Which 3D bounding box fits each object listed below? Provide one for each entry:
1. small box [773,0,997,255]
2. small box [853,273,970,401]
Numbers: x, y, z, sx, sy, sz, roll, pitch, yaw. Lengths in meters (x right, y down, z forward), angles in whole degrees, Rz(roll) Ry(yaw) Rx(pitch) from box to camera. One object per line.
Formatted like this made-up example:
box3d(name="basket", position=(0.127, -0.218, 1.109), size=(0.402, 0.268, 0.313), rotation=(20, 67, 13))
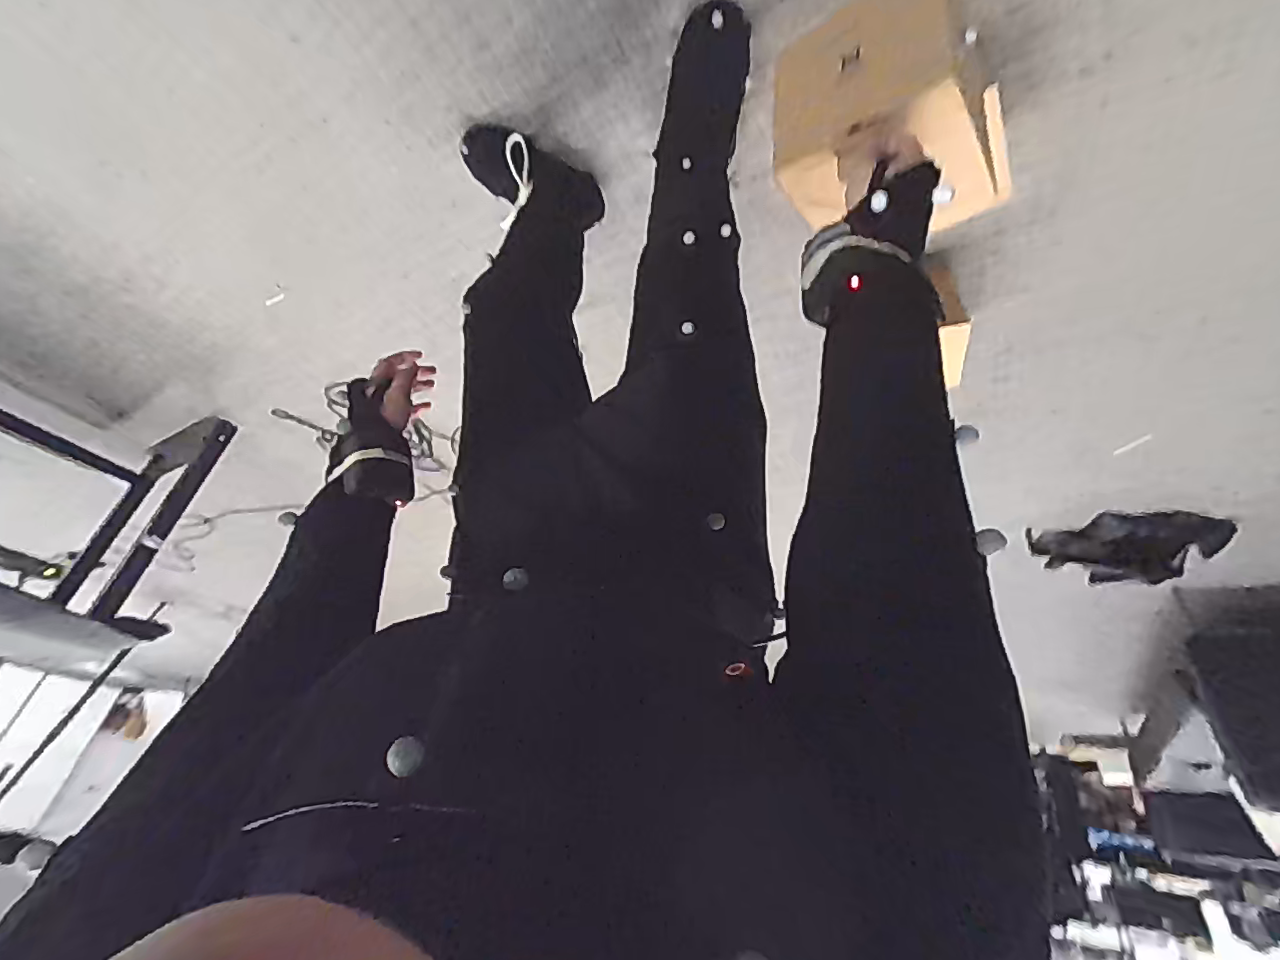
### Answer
box3d(name="small box", position=(0.253, -0.365, 0.562), size=(0.168, 0.179, 0.176), rotation=(-11, 158, 41))
box3d(name="small box", position=(0.526, -0.284, 1.071), size=(0.179, 0.176, 0.168), rotation=(-5, 145, 19))
